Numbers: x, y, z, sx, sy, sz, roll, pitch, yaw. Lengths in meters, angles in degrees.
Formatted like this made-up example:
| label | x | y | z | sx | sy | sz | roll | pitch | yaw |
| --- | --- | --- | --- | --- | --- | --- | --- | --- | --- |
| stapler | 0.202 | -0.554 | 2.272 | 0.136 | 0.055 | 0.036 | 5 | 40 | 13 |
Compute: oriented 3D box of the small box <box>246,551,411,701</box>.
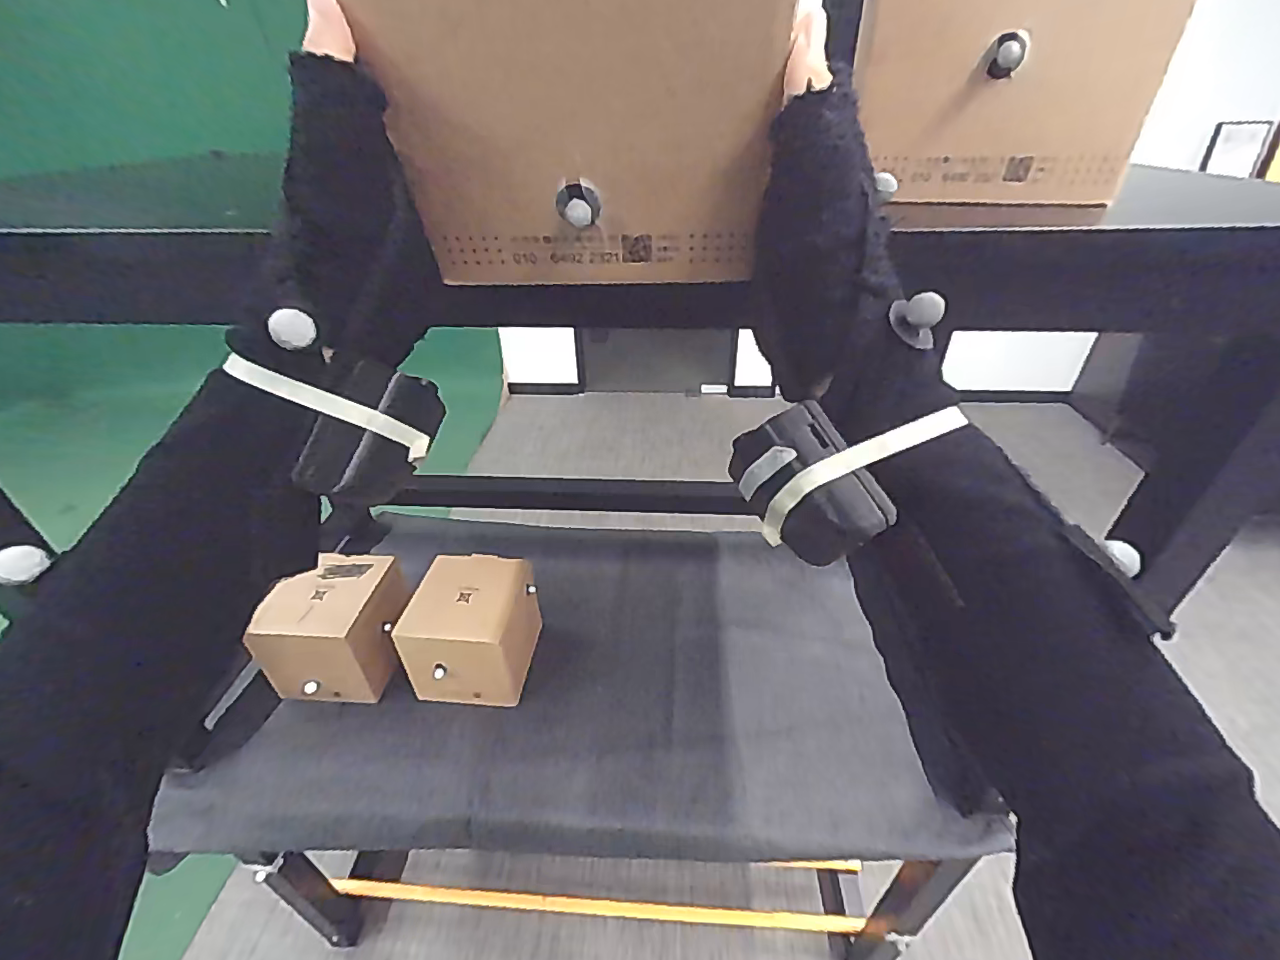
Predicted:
| label | x | y | z | sx | sy | sz | roll | pitch | yaw |
| --- | --- | --- | --- | --- | --- | --- | --- | --- | --- |
| small box | -0.502 | 0.242 | 0.911 | 0.168 | 0.176 | 0.179 | 2 | 35 | 3 |

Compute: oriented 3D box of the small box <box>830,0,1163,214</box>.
| label | x | y | z | sx | sy | sz | roll | pitch | yaw |
| --- | --- | --- | --- | --- | --- | --- | --- | --- | --- |
| small box | 0.241 | -0.300 | 0.398 | 0.168 | 0.176 | 0.179 | 8 | 35 | 13 |

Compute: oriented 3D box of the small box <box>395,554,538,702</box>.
| label | x | y | z | sx | sy | sz | roll | pitch | yaw |
| --- | --- | --- | --- | --- | --- | --- | --- | --- | --- |
| small box | -0.275 | 0.247 | 0.906 | 0.168 | 0.176 | 0.179 | 3 | 34 | 4 |
